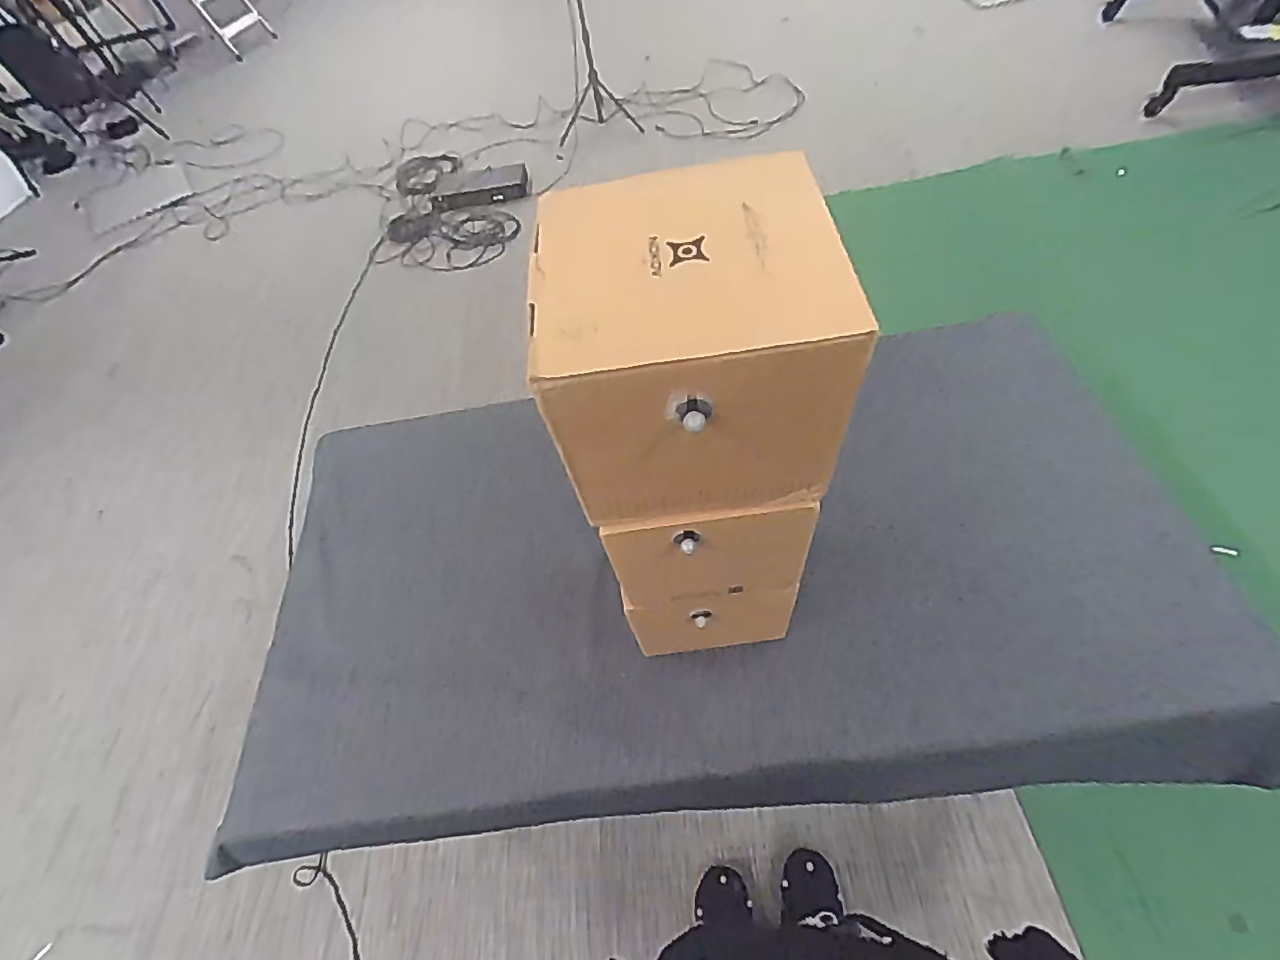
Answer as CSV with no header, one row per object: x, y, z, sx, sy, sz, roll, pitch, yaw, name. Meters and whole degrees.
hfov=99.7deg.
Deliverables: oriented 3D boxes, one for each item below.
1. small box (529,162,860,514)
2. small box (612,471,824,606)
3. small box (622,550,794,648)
0.033,-0.088,0.386,0.179,0.176,0.168,-7,58,4,small box
0.059,0.002,0.523,0.168,0.176,0.179,-10,57,2,small box
0.076,0.093,0.654,0.179,0.176,0.168,-9,56,3,small box
